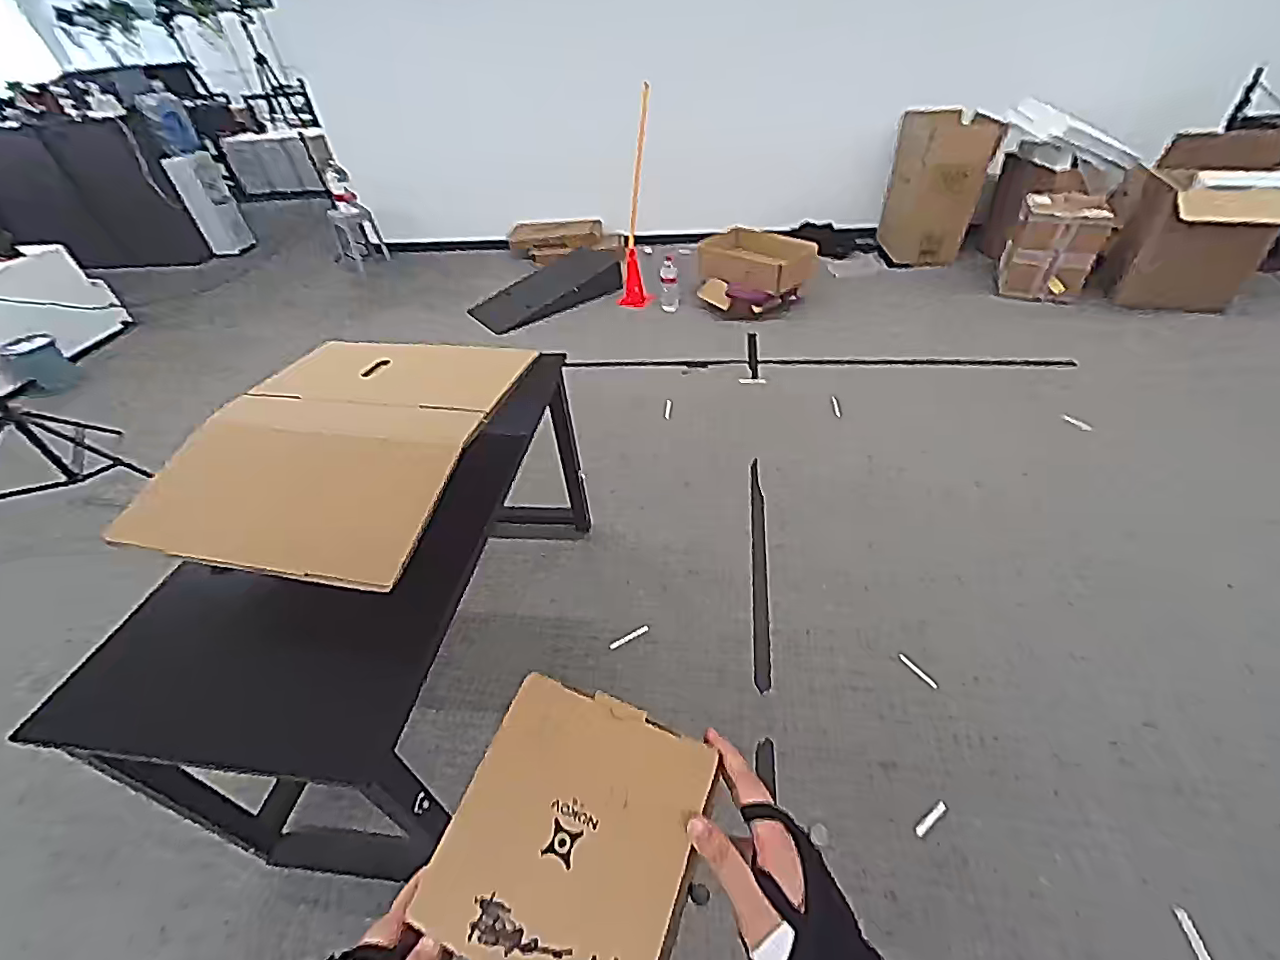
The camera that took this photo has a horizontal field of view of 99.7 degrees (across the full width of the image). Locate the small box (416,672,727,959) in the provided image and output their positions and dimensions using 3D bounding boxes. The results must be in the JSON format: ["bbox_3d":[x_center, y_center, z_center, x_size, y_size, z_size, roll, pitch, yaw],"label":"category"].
[{"bbox_3d":[-0.036,0.292,0.439,0.168,0.176,0.179,15,55,20],"label":"small box"}]
